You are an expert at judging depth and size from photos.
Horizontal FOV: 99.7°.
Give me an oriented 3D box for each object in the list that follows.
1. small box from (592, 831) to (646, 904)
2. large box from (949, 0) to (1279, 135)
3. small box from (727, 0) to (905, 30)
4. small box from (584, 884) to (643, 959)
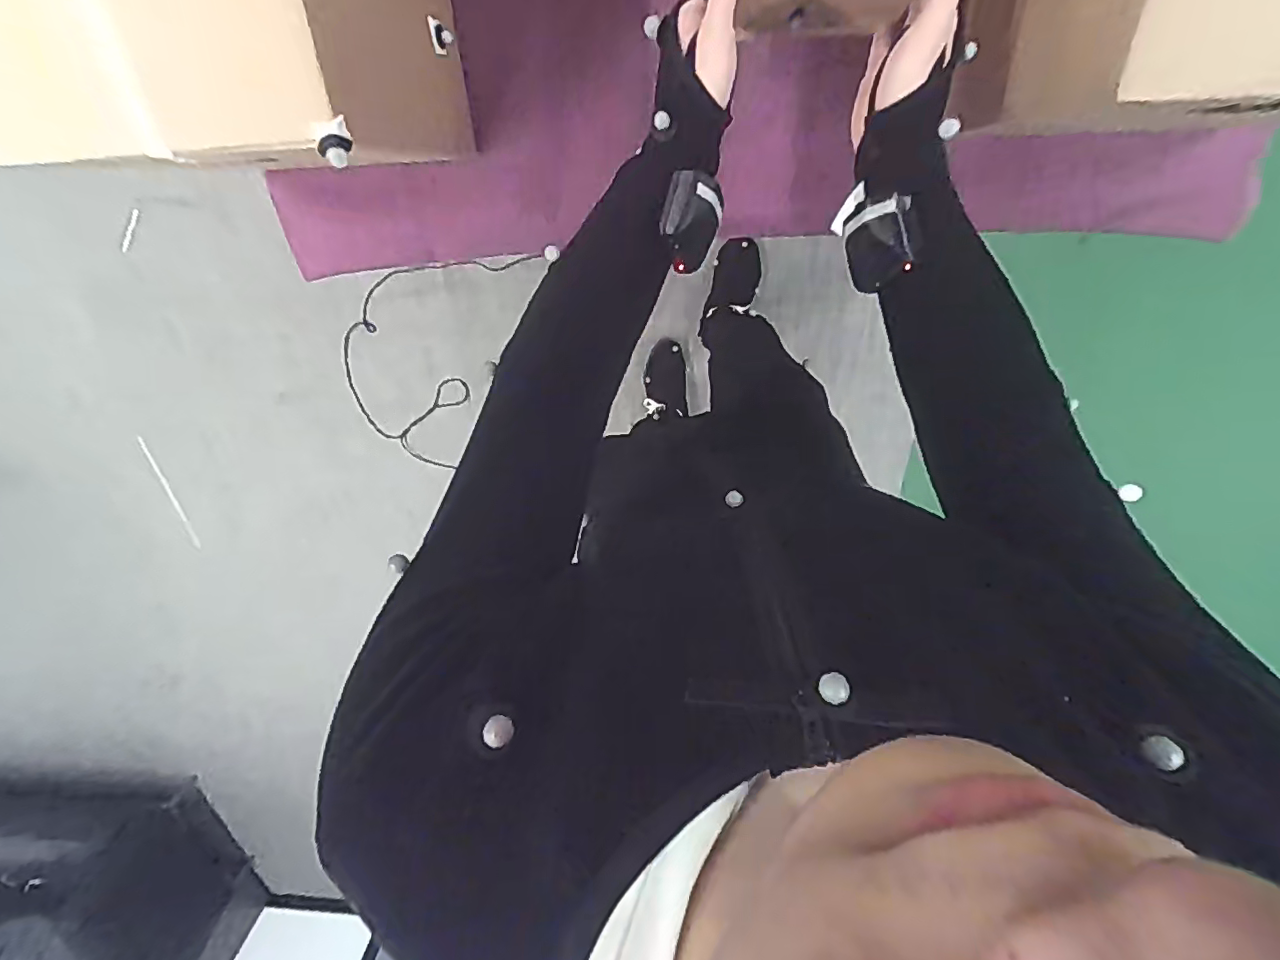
[{"bbox_3d":[-0.070,1.397,1.941,0.168,0.176,0.179,-3,120,6],"label":"small box"},{"bbox_3d":[0.482,-0.501,0.390,0.320,0.320,0.408,1,120,6],"label":"large box"},{"bbox_3d":[0.156,-0.497,0.429,0.168,0.176,0.179,1,116,6],"label":"small box"},{"bbox_3d":[-0.082,1.480,1.800,0.168,0.176,0.179,-4,121,8],"label":"small box"}]
